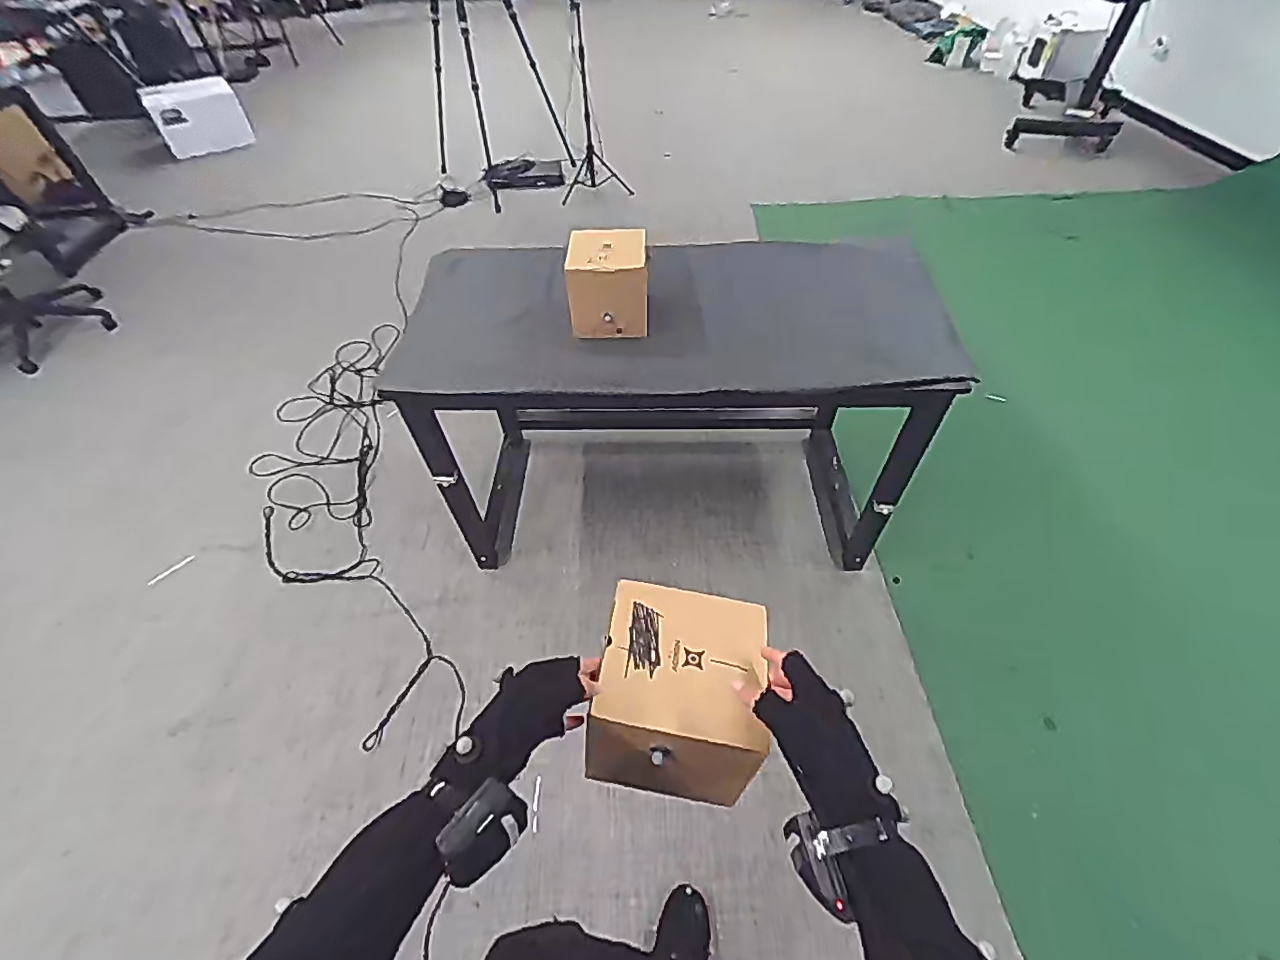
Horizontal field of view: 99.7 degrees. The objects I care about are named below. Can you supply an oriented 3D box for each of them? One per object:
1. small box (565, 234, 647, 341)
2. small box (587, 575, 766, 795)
[{"bbox_3d":[-0.069,-0.431,1.211,0.168,0.176,0.179,-1,50,2],"label":"small box"},{"bbox_3d":[0.040,0.237,0.624,0.179,0.176,0.168,11,43,3],"label":"small box"}]
